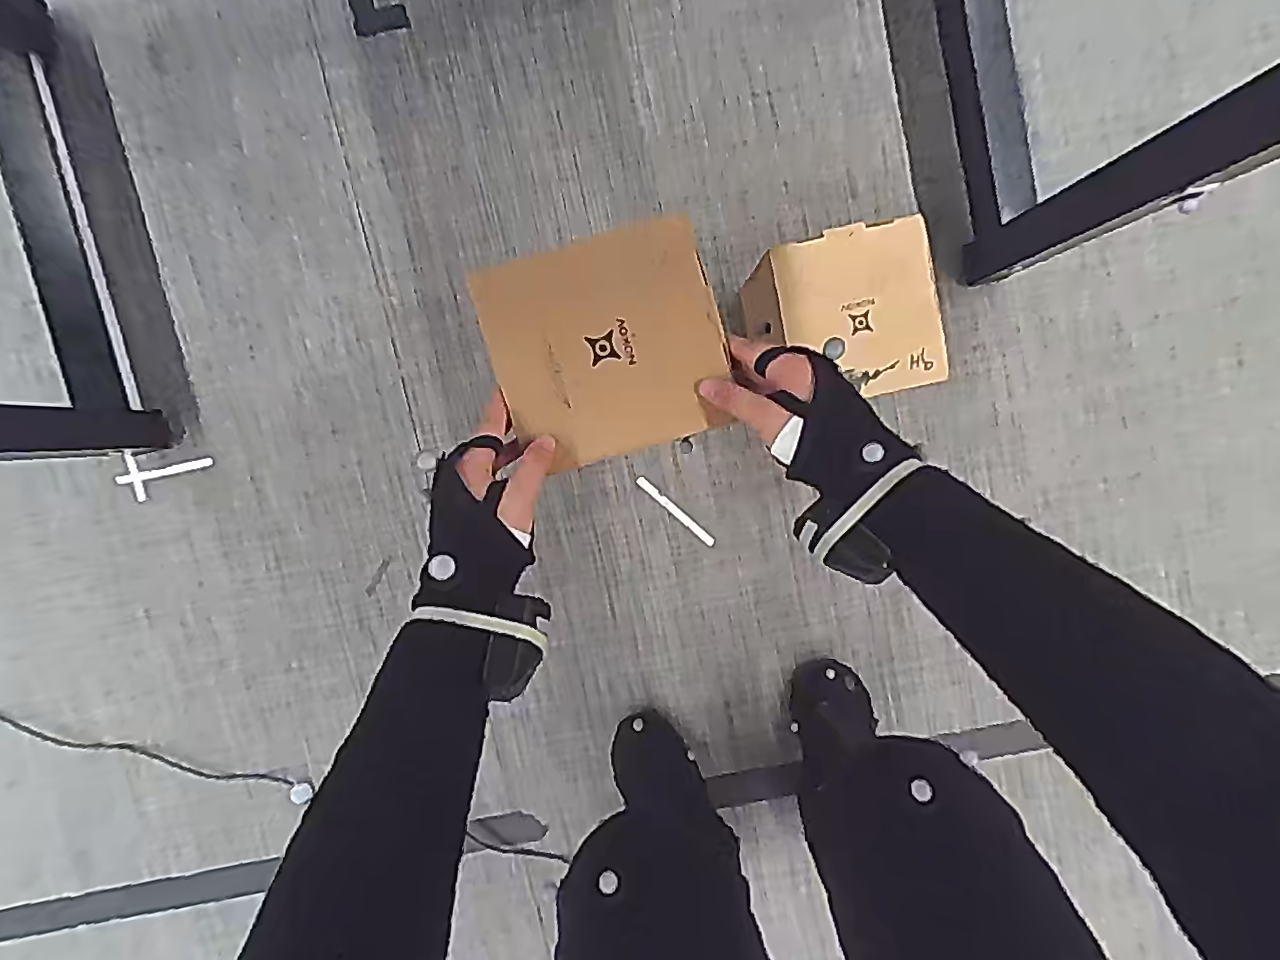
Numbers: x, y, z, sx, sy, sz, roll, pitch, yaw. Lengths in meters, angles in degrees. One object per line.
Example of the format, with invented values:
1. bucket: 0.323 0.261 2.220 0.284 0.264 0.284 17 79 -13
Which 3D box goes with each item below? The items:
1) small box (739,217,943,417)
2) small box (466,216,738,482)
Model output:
1. small box: 0.224 -0.179 0.648 0.168 0.176 0.179 -12 94 2
2. small box: -0.030 -0.104 0.495 0.179 0.176 0.168 -18 93 1
